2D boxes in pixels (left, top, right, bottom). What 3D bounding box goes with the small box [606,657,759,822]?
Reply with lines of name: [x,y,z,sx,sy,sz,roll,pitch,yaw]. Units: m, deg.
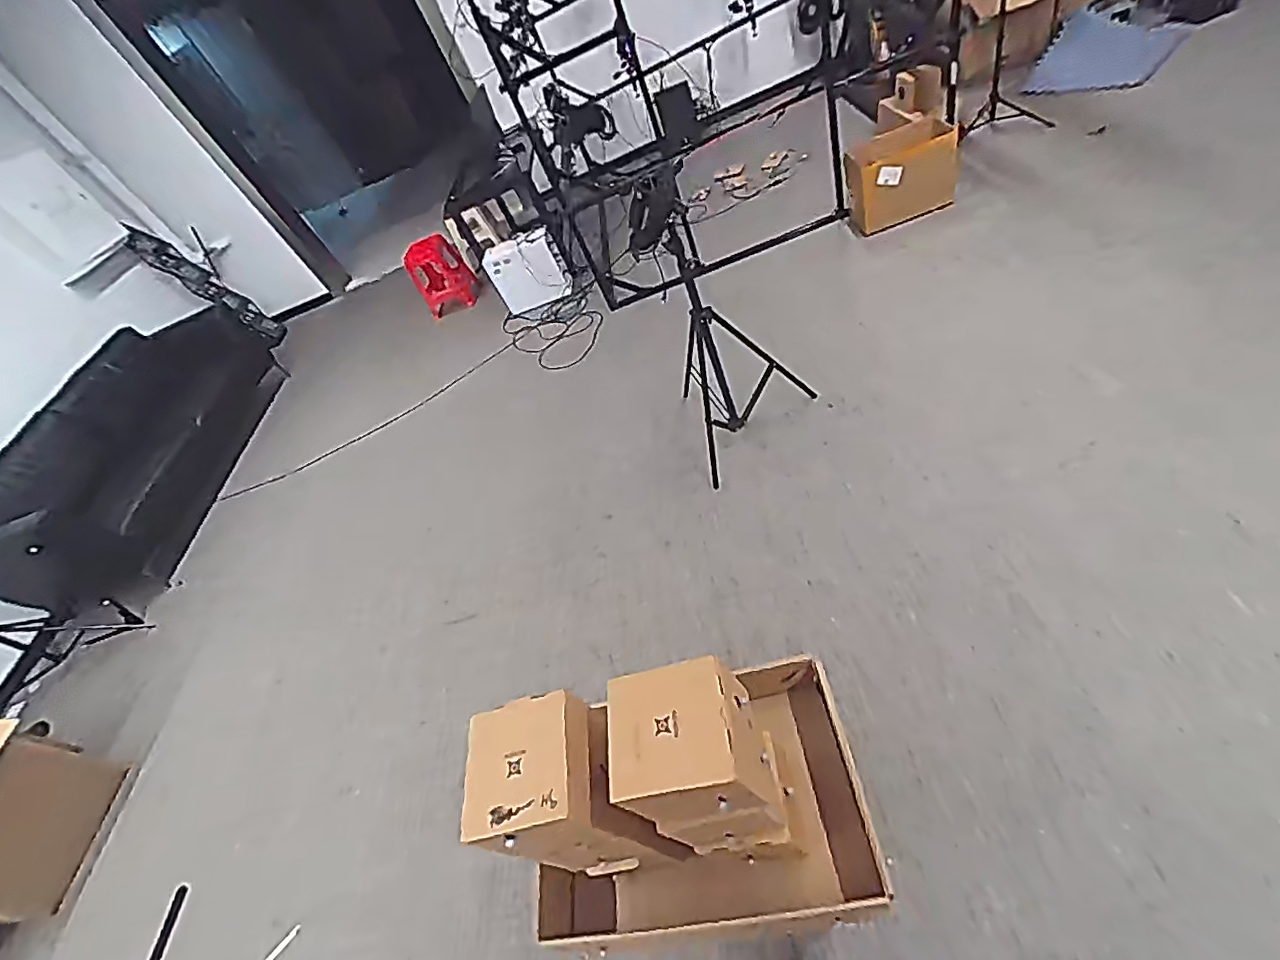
small box: [0.065,0.382,0.787,0.179,0.176,0.168,-19,46,16]

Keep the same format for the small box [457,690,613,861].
small box: [-0.151,0.455,0.829,0.168,0.176,0.179,-20,44,11]

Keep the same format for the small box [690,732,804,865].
small box: [0.192,0.593,1.003,0.168,0.176,0.179,-18,46,15]

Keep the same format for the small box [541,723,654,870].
small box: [-0.086,0.555,0.943,0.168,0.176,0.179,-20,46,11]
